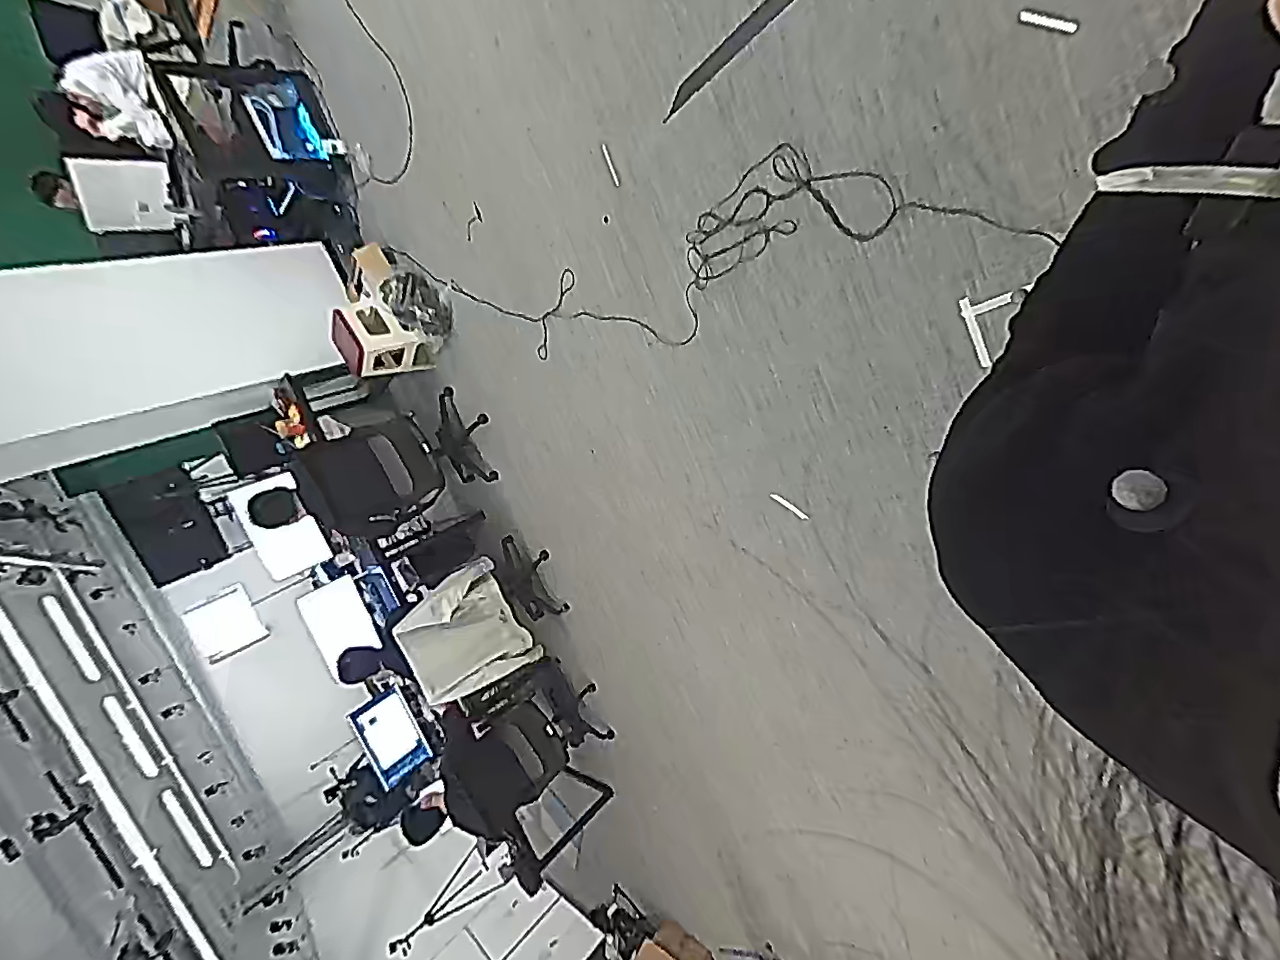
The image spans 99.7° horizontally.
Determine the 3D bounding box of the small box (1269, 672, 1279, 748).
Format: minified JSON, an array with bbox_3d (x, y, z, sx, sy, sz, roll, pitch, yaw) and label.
[{"bbox_3d":[1.085,0.414,0.812,0.168,0.176,0.179,-10,104,49],"label":"small box"}]
